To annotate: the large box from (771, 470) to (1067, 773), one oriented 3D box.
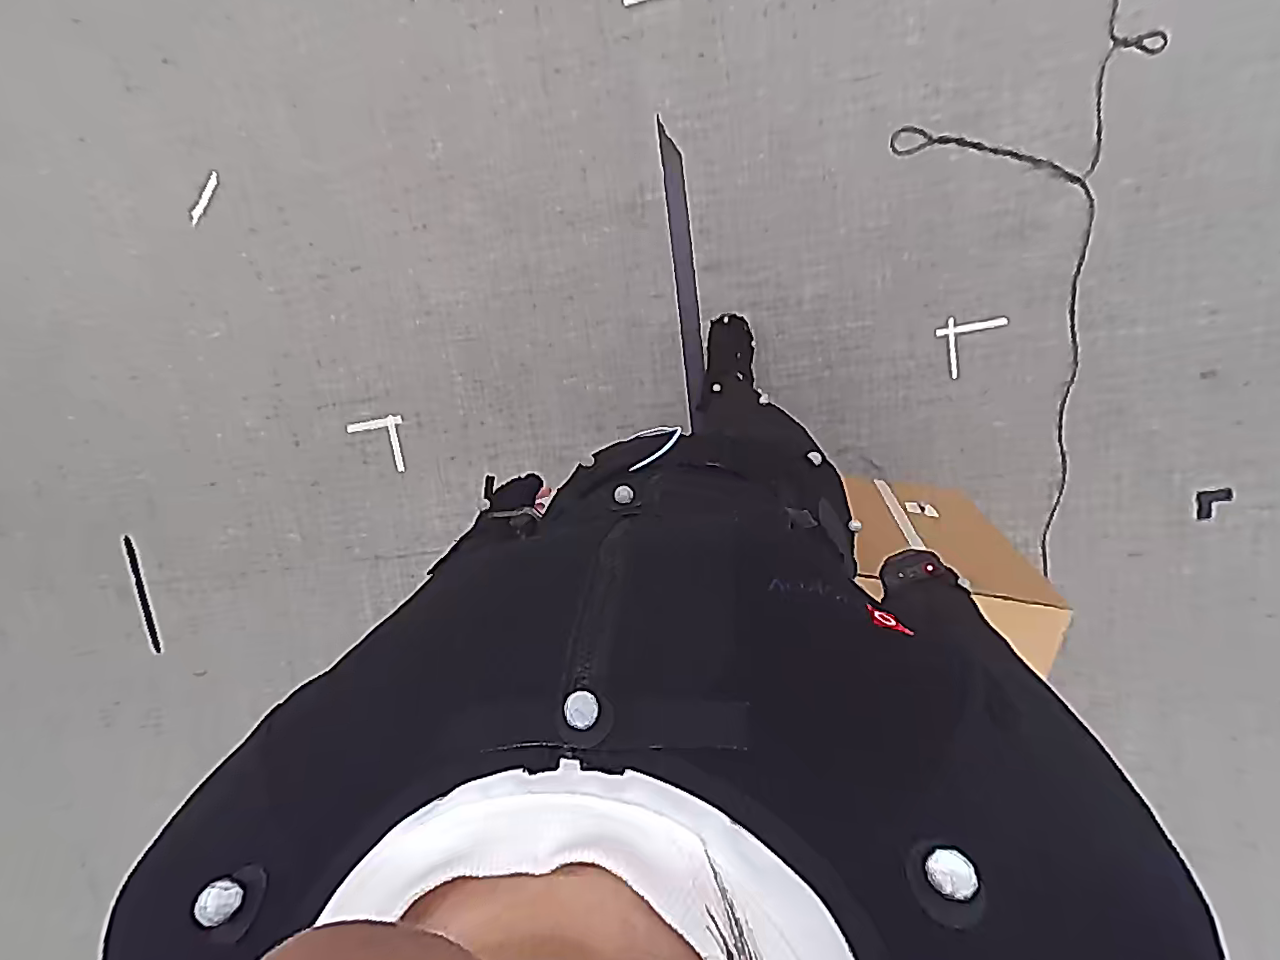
[{"bbox_3d":[0.407,0.203,0.922,0.320,0.408,0.320,9,110,8],"label":"large box"}]
